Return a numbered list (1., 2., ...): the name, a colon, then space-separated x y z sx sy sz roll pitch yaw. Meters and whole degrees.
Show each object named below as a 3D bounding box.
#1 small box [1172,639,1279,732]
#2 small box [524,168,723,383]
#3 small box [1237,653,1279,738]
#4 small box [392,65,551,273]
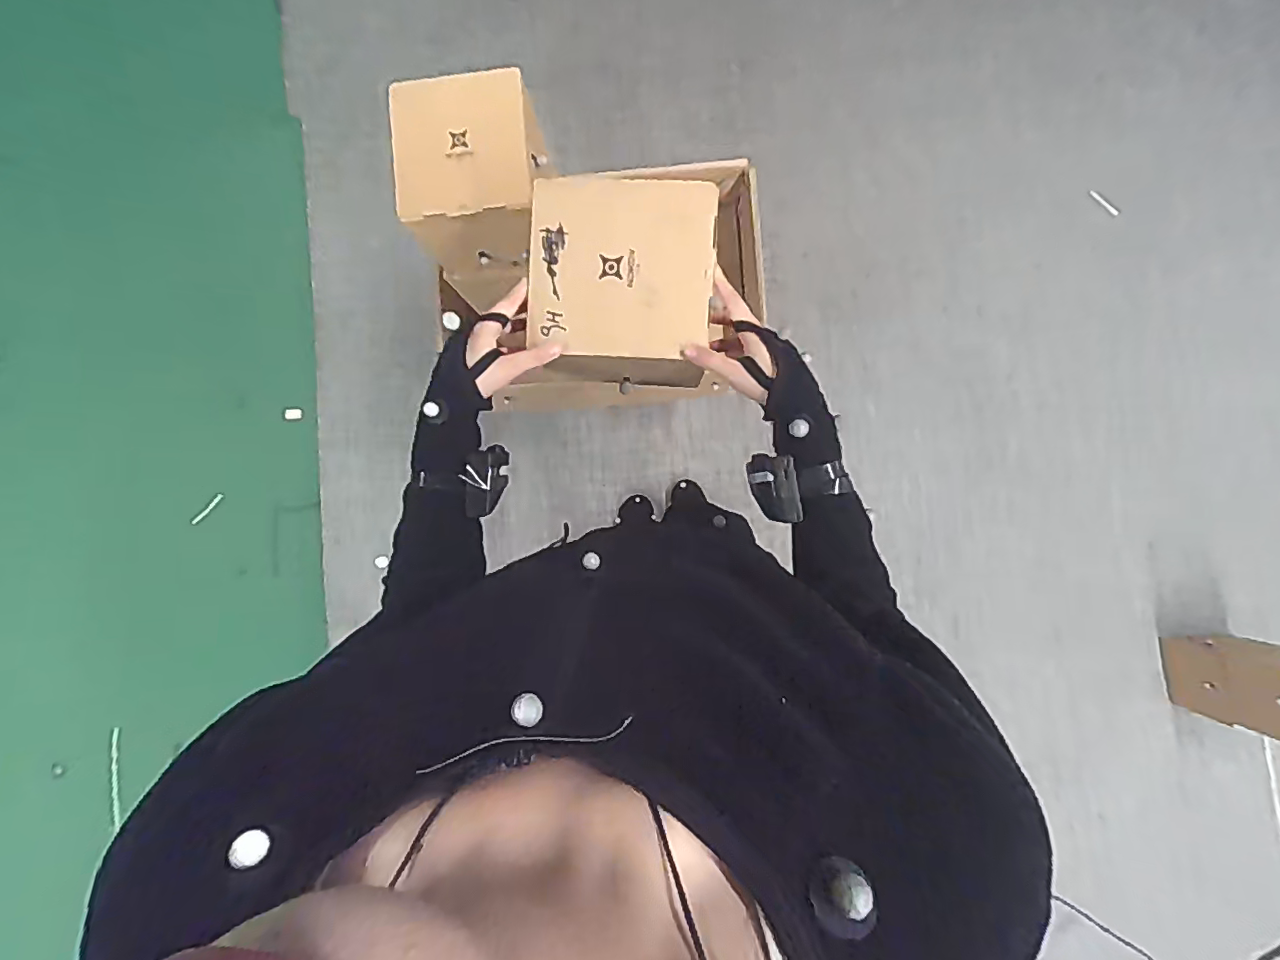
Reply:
1. small box: 1.479 0.497 1.336 0.168 0.176 0.179 -6 86 3
2. small box: -0.013 -0.201 0.577 0.179 0.176 0.168 4 90 2
3. small box: 1.468 0.477 1.173 0.168 0.176 0.179 -6 86 4
4. small box: -0.212 -0.406 0.732 0.168 0.176 0.179 -5 87 3
